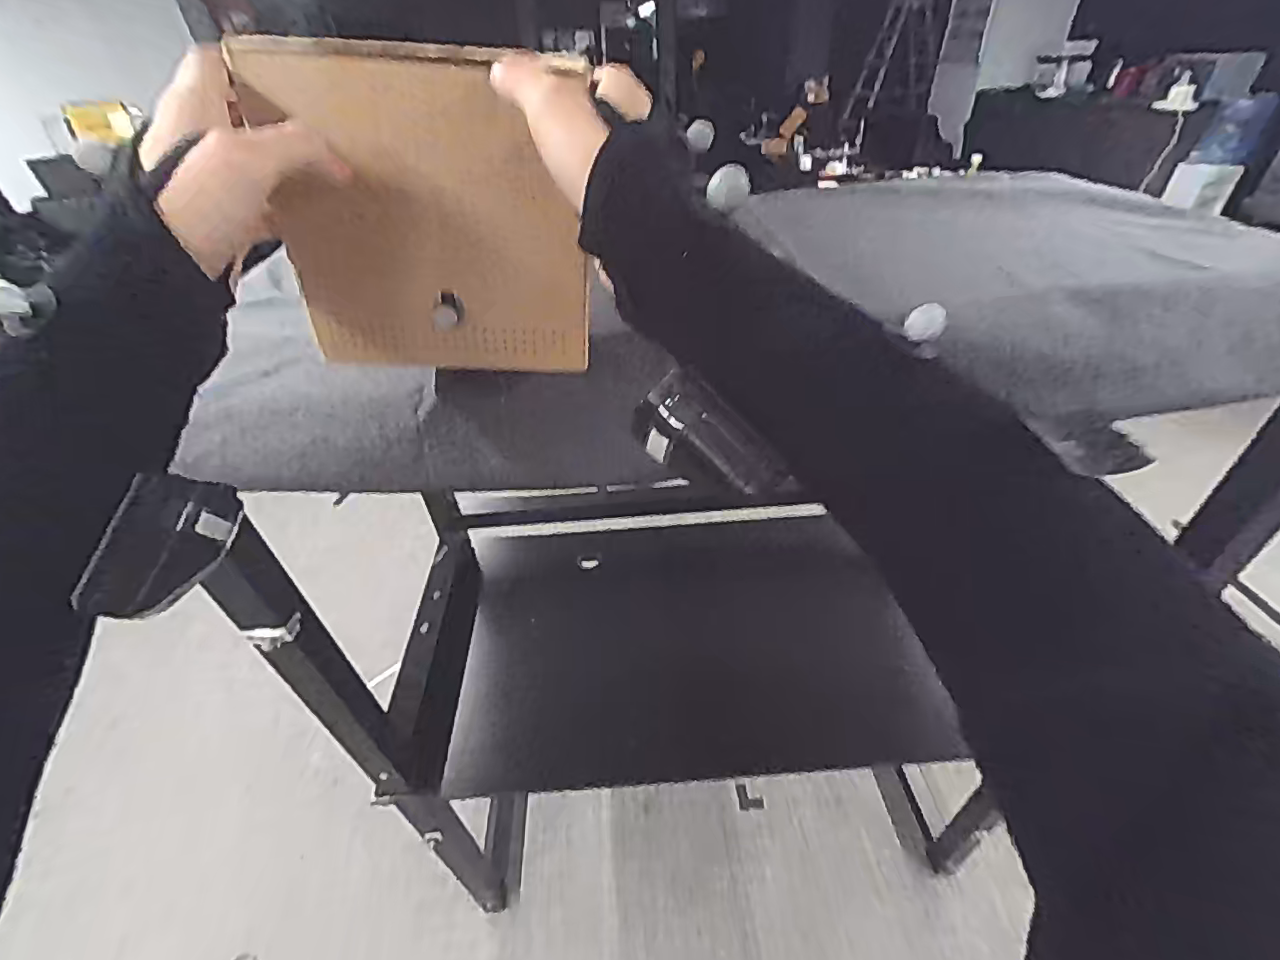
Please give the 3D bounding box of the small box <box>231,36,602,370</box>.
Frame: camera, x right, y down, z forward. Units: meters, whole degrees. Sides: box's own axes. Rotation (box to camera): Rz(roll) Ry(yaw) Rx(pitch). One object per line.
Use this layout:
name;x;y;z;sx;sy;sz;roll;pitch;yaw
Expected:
small box;-0.119;-0.188;0.373;0.179;0.176;0.168;1;38;-6
